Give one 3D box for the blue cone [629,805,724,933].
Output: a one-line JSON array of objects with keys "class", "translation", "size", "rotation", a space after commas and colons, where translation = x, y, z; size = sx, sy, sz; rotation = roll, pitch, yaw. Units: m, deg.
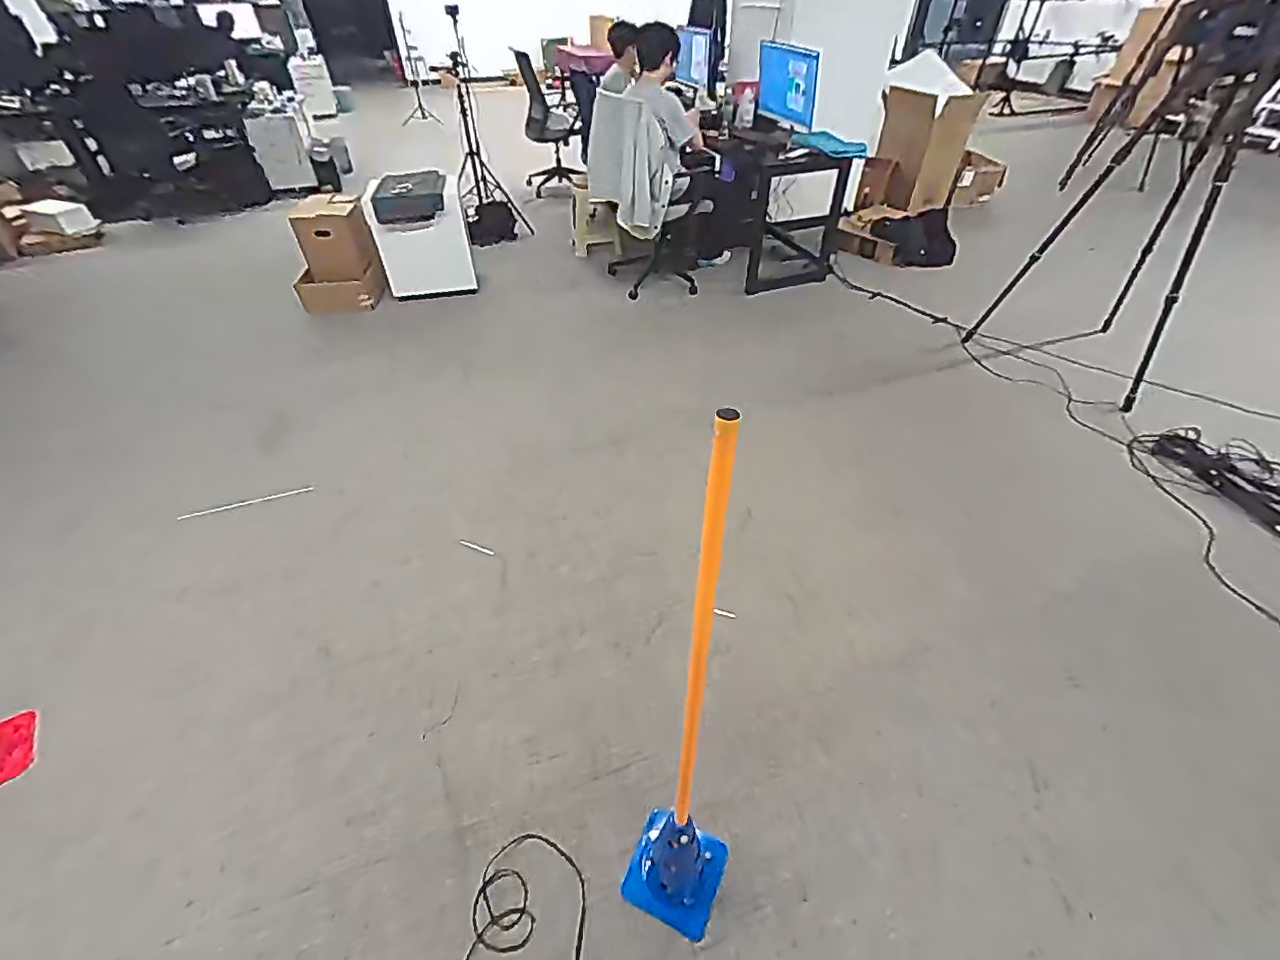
[{"class": "blue cone", "translation": [0.082, 0.757, 1.120], "size": [0.192, 0.380, 0.193], "rotation": [17, 43, 19]}]
